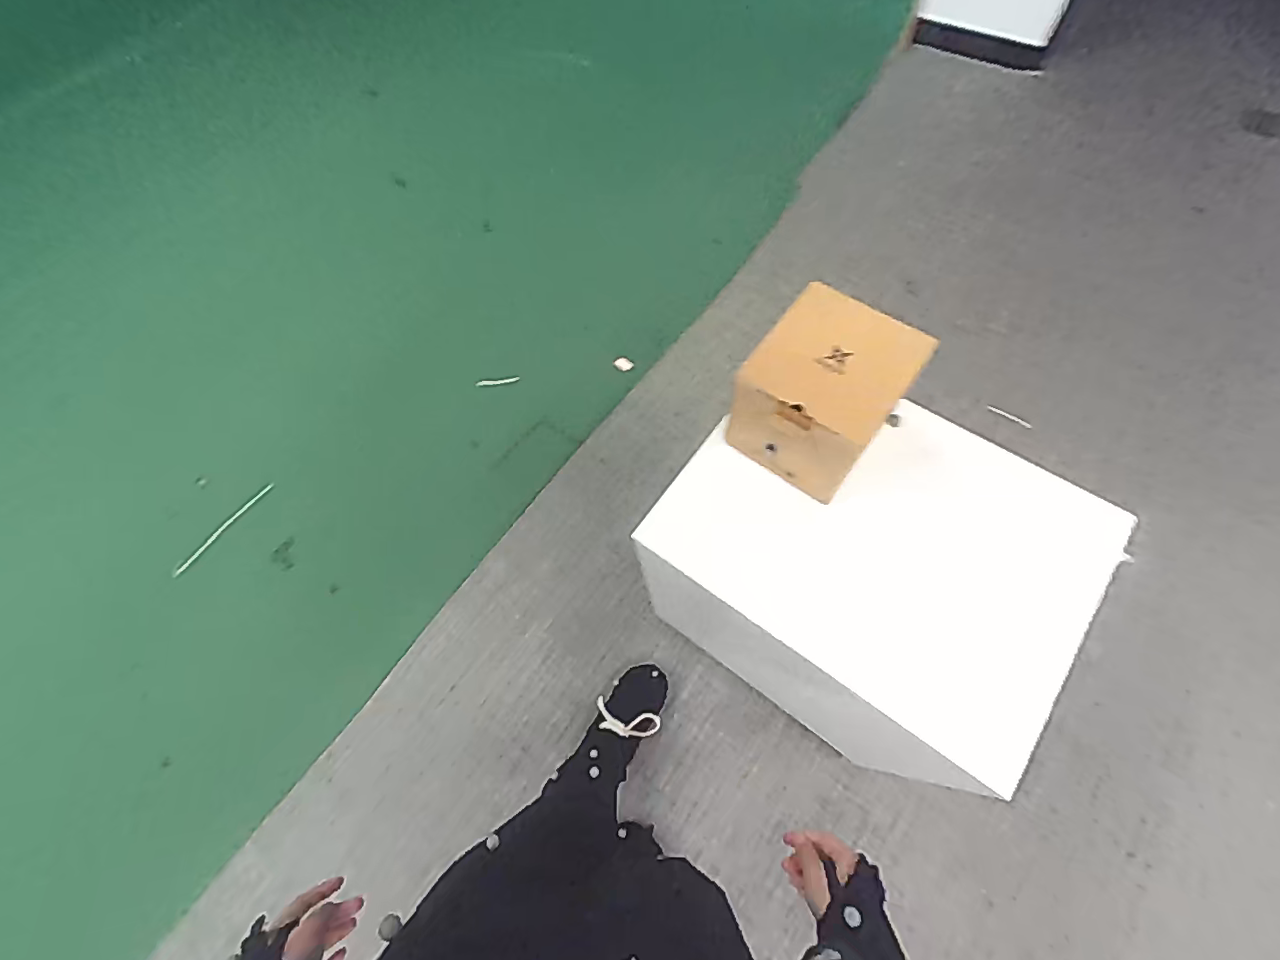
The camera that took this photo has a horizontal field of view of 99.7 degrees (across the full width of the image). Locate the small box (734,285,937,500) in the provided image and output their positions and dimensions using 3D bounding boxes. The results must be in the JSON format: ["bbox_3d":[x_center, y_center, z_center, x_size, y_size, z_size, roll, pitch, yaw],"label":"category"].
[{"bbox_3d":[0.235,-0.105,0.698,0.168,0.176,0.179,35,73,17],"label":"small box"}]
